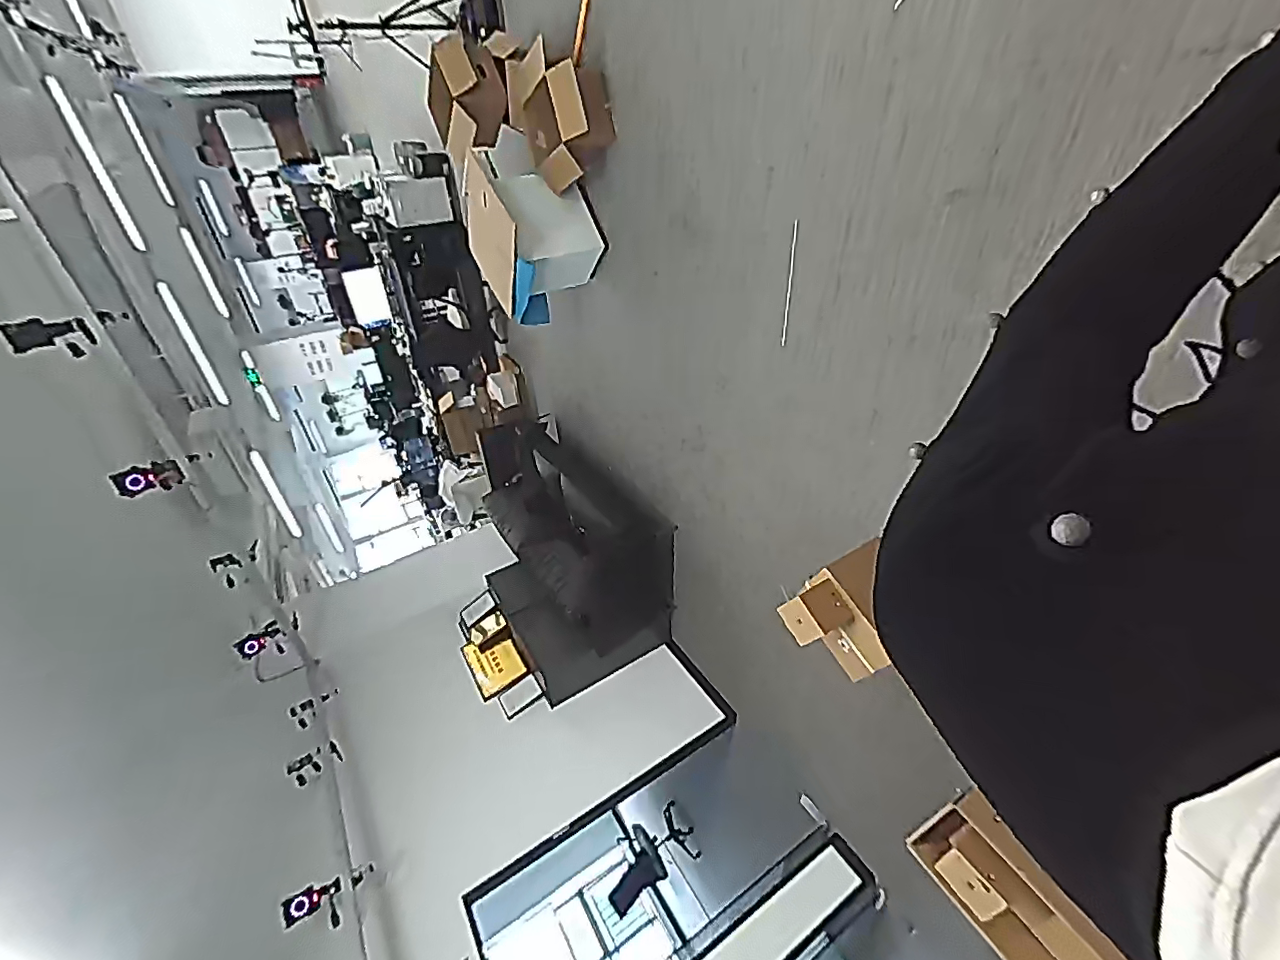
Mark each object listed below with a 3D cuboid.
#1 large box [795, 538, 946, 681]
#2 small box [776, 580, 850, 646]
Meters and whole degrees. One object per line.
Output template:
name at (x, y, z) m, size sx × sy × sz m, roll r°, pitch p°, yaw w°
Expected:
large box at (0.903, 0.511, 2.163) m, size 0.408 × 0.320 × 0.320 m, roll 55°, pitch 152°, yaw 23°
small box at (0.660, 0.506, 2.061) m, size 0.168 × 0.176 × 0.179 m, roll 58°, pitch 151°, yaw 18°
